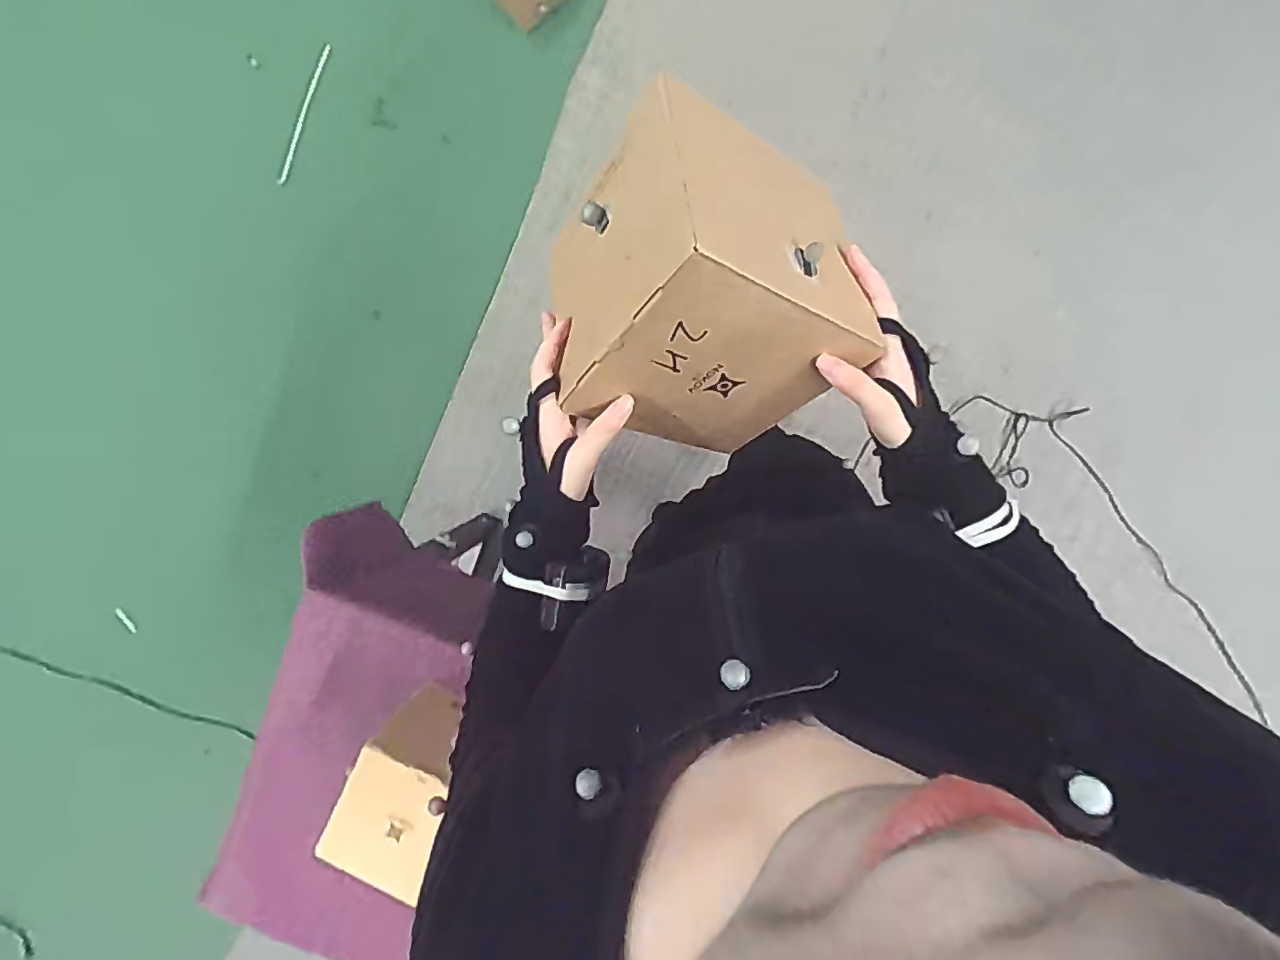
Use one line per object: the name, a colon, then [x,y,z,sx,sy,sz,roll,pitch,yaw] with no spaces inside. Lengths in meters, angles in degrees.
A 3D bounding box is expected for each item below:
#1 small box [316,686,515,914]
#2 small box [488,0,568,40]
small box: [-0.296,0.427,0.750,0.168,0.176,0.179,27,97,1]
small box: [-0.298,-1.232,1.301,0.168,0.176,0.179,-41,92,8]
